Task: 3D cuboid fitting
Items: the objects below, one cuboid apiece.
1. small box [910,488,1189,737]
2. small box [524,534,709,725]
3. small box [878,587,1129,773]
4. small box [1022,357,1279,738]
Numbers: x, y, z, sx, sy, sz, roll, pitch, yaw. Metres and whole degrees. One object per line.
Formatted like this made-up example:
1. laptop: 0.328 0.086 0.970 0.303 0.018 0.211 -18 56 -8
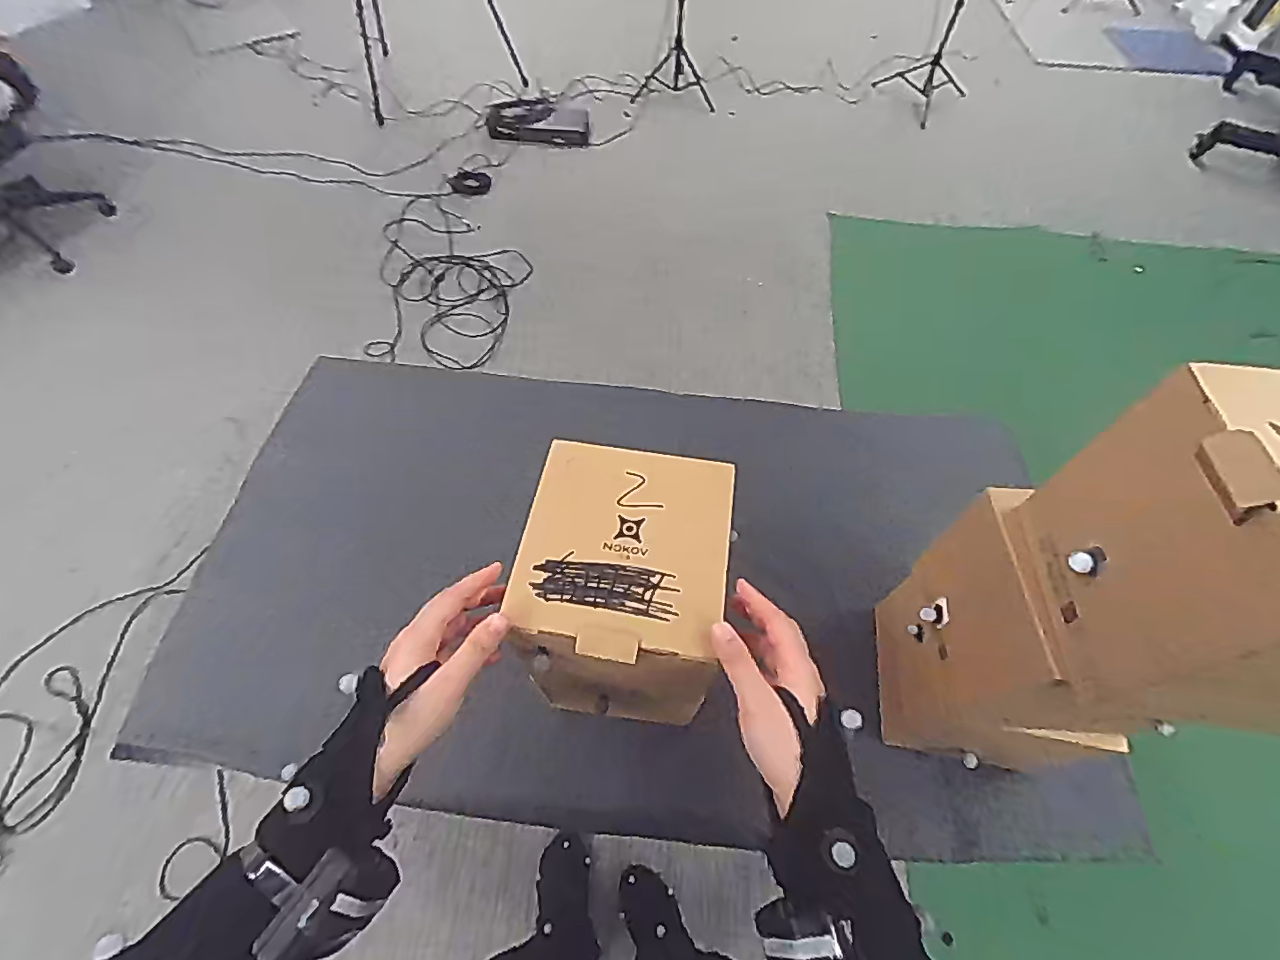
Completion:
1. small box: 0.376 0.124 0.482 0.179 0.176 0.168 2 55 2
2. small box: -0.018 0.180 0.635 0.179 0.176 0.168 6 58 4
3. small box: 0.385 0.215 0.616 0.168 0.176 0.179 9 57 6
4. small box: 0.389 0.051 0.332 0.179 0.176 0.168 7 55 4
